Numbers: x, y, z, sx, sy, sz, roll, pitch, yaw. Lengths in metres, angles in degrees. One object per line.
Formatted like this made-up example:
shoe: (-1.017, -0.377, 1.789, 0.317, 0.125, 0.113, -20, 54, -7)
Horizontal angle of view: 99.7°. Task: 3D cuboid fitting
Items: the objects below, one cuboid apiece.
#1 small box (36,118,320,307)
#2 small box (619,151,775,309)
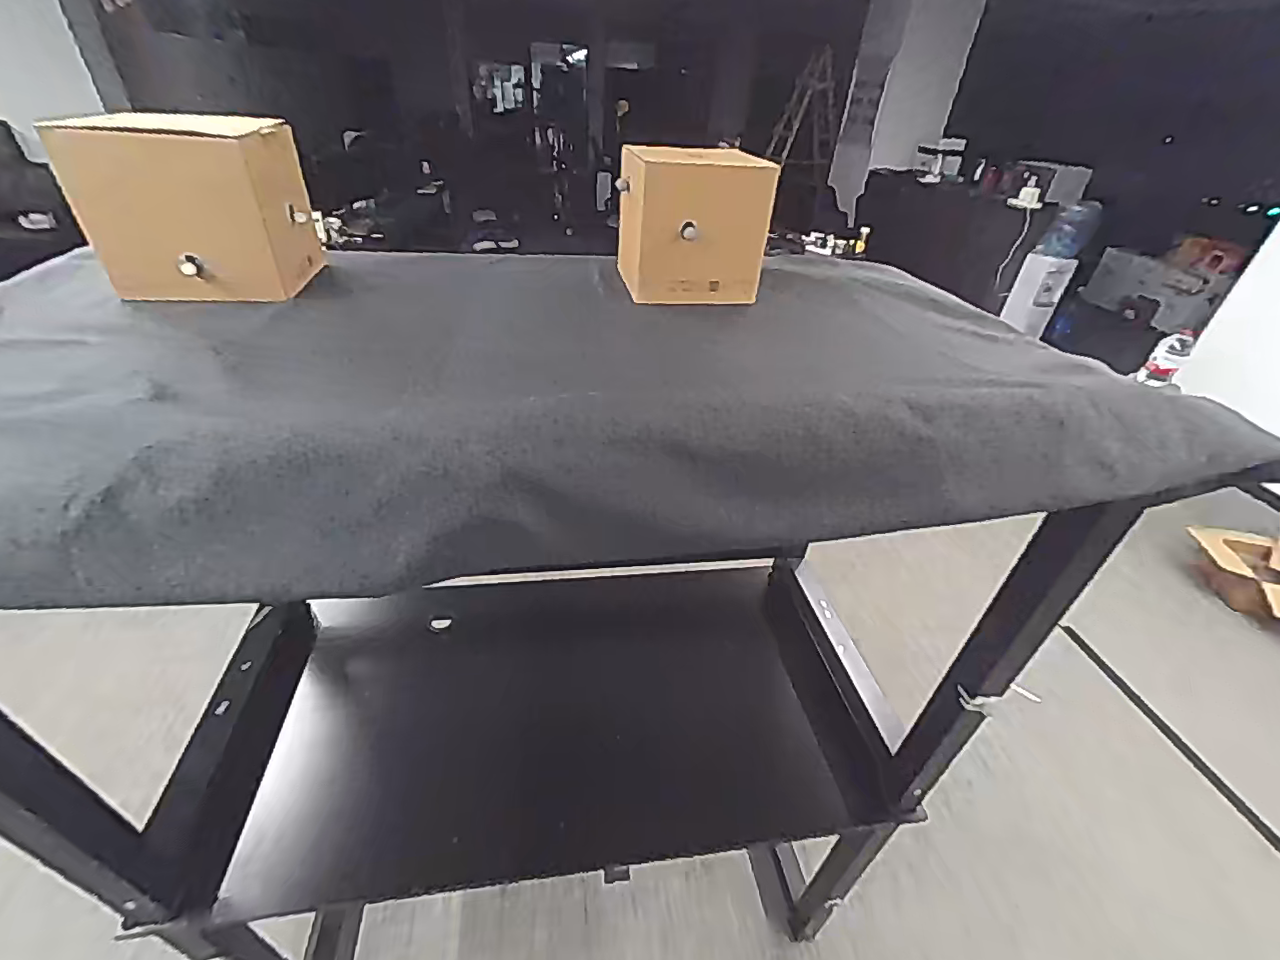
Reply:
small box: (-0.503, -0.308, 0.631, 0.179, 0.176, 0.168, -3, 36, -12)
small box: (0.064, -0.340, 0.735, 0.168, 0.176, 0.179, -3, 36, -10)
